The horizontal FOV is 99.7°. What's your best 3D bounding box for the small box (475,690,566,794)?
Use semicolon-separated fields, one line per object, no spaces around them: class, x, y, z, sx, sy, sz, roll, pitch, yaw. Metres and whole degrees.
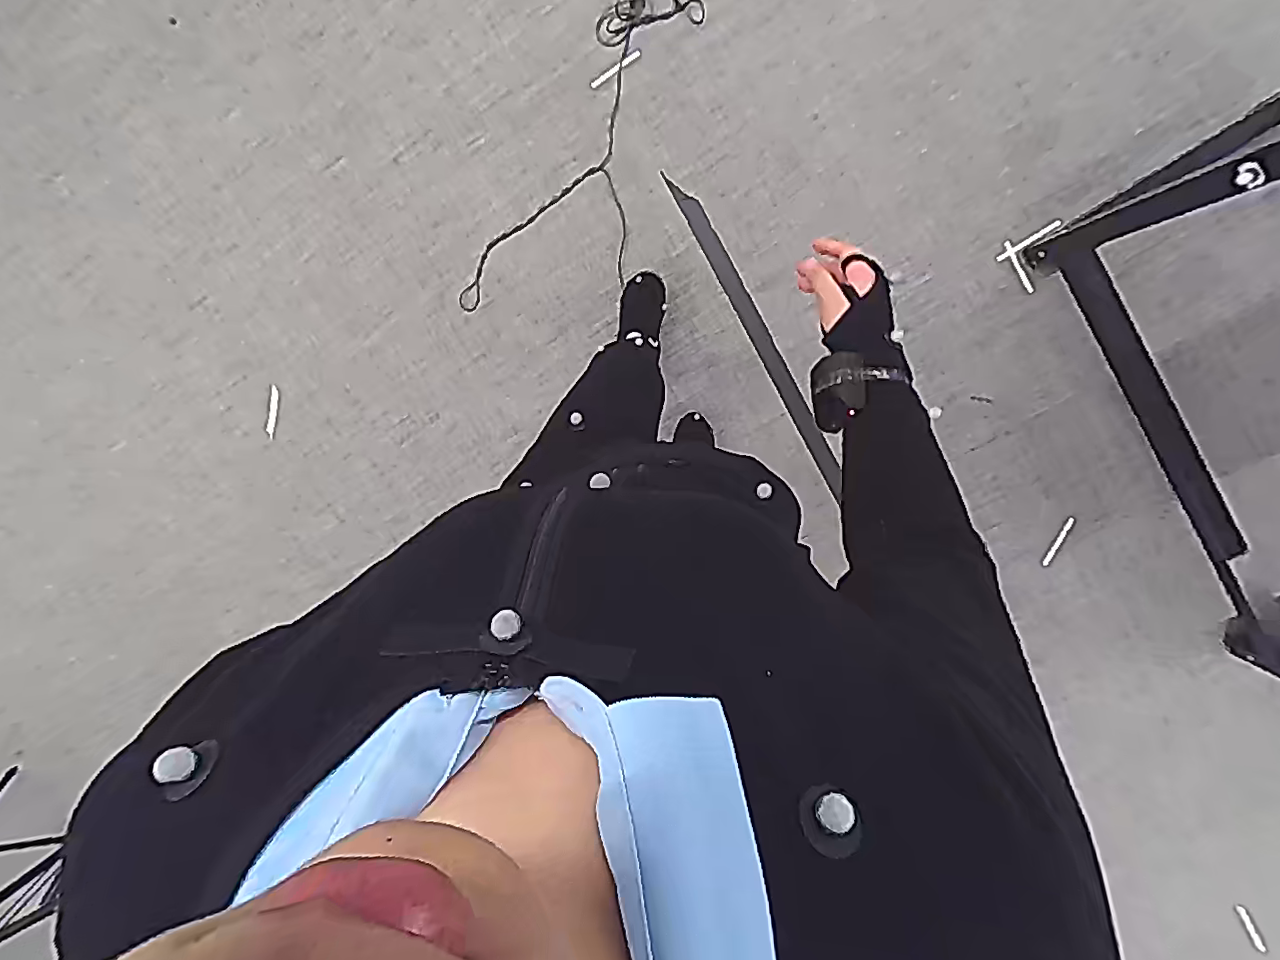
small box;-0.325;0.730;1.526;0.179;0.176;0.168;-32;93;11

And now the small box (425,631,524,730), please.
small box;-0.455;0.555;1.513;0.179;0.176;0.168;-25;97;9
